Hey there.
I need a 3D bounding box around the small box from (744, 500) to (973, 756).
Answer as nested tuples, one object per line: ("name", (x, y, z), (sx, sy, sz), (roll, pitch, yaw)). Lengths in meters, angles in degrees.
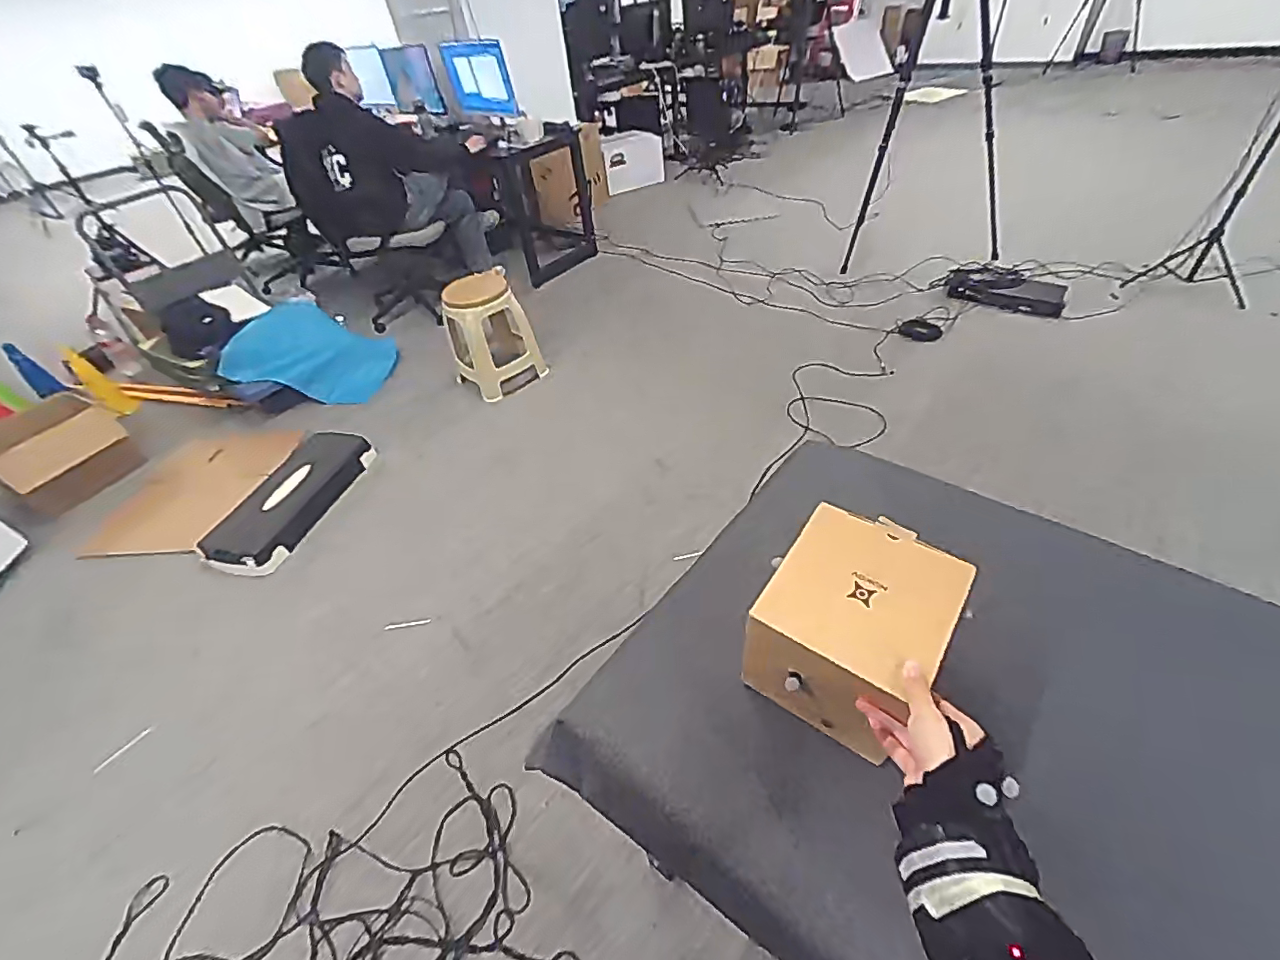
("small box", (0.226, 0.161, 0.589), (0.168, 0.176, 0.179), (25, 53, 27))
